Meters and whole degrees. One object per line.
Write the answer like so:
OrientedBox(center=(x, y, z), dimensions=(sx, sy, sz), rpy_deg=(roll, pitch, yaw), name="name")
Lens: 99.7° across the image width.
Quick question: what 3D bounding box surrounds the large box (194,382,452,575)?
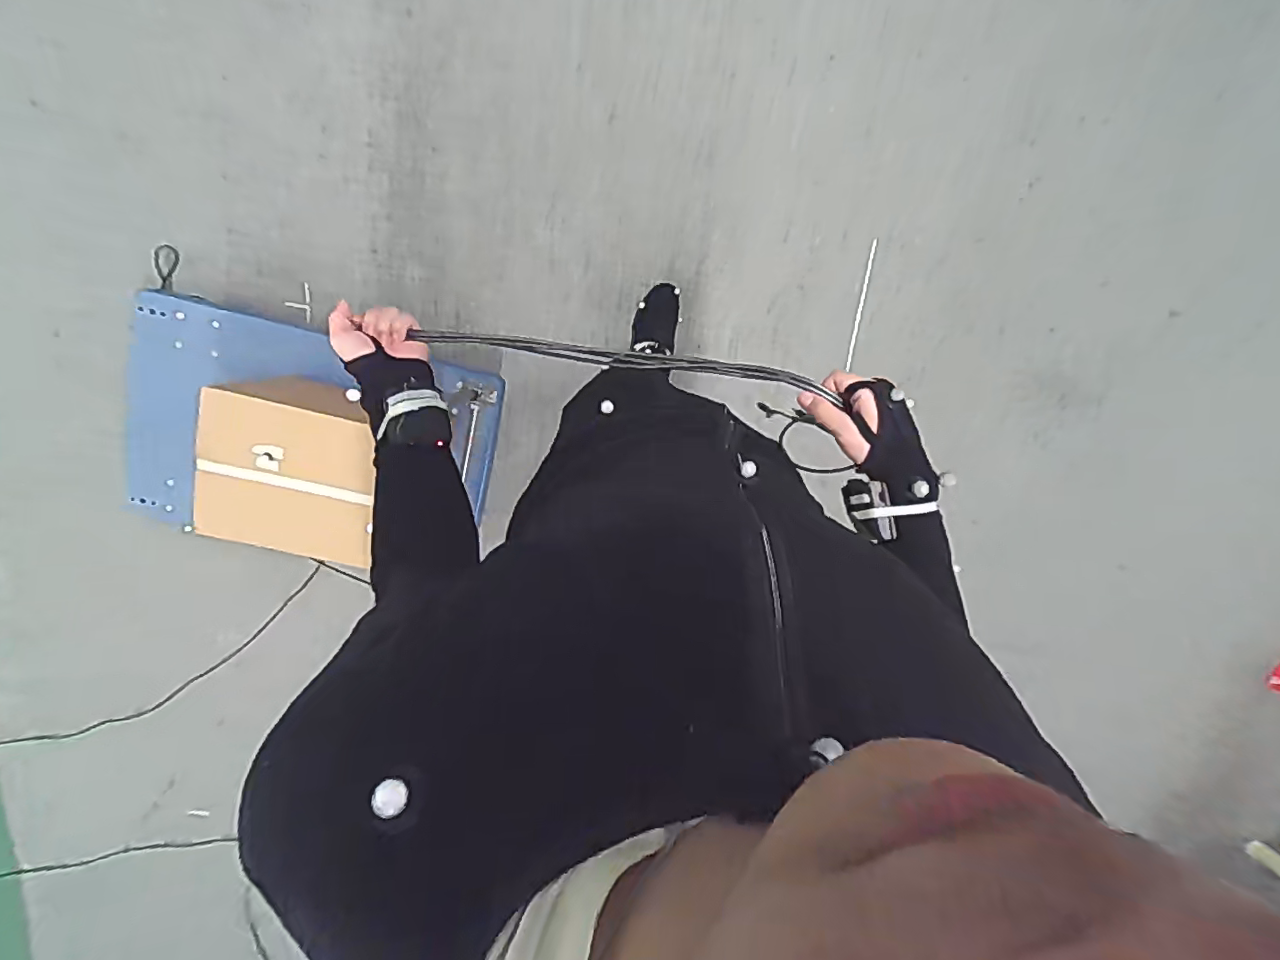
OrientedBox(center=(-0.687, -0.020, 1.231), dimensions=(0.408, 0.320, 0.320), rpy_deg=(13, 102, -6), name="large box")
